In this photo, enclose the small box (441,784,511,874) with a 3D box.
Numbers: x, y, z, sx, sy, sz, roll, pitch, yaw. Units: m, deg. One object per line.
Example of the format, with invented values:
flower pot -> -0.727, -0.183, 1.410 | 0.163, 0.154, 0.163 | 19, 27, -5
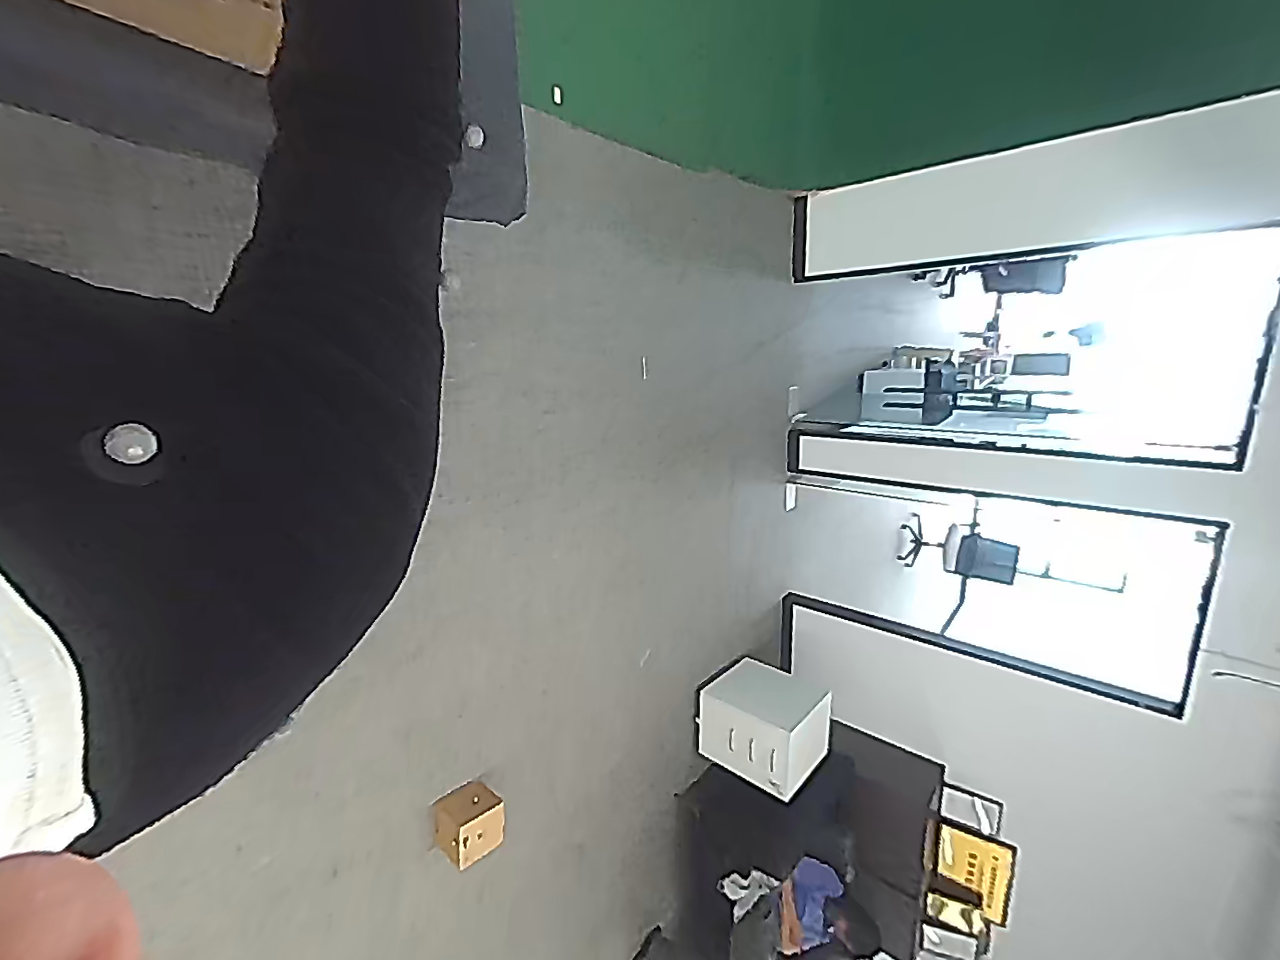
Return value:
small box -> -0.575, 1.210, 1.896 | 0.179, 0.176, 0.168 | -8, 104, -49
